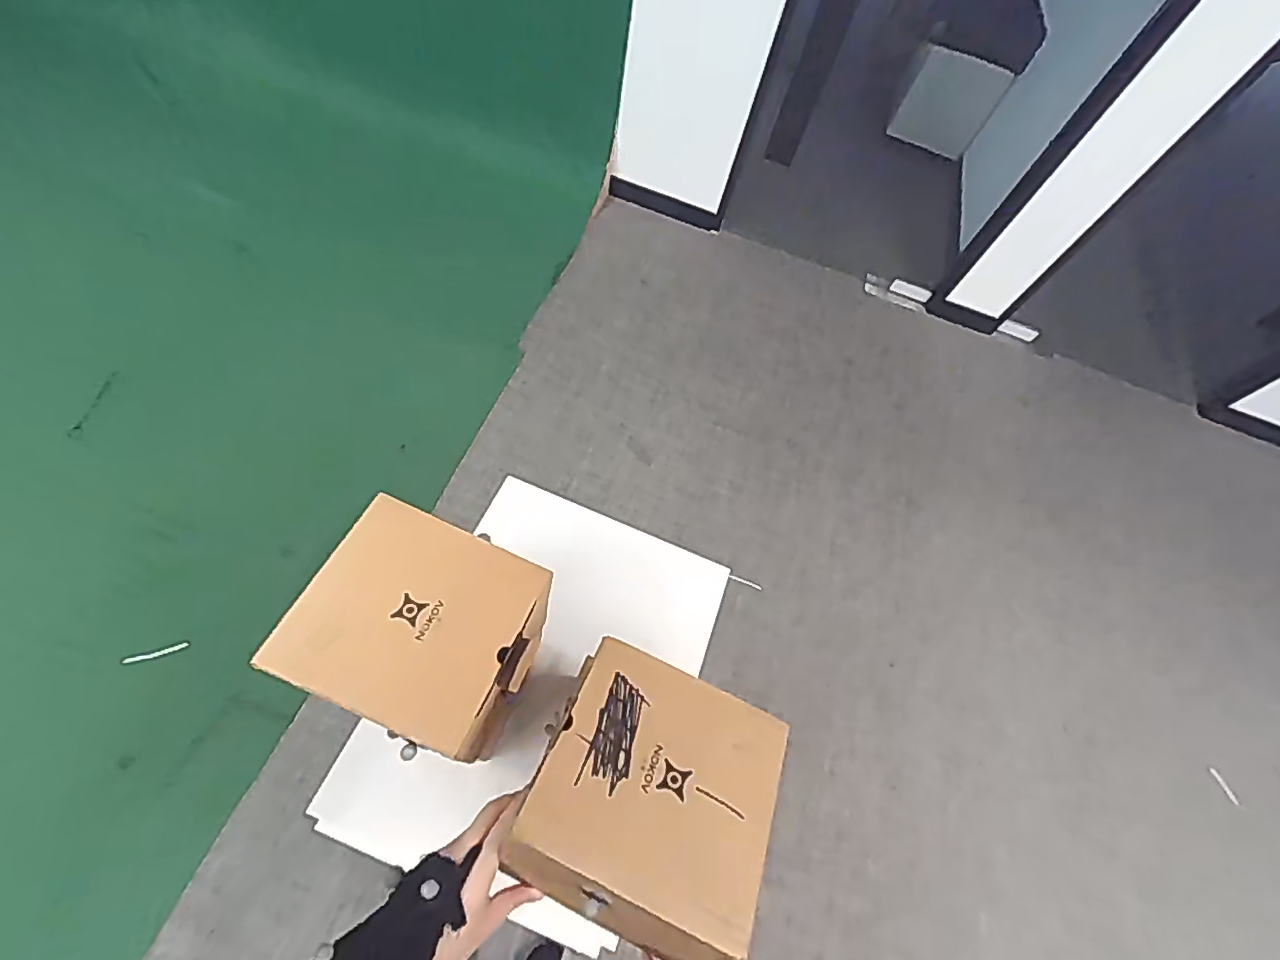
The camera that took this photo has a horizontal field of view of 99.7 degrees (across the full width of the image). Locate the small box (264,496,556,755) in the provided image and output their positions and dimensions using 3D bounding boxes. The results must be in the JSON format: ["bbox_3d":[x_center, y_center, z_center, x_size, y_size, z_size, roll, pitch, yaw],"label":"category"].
[{"bbox_3d":[-0.201,0.150,0.523,0.179,0.176,0.168,25,58,0],"label":"small box"}]

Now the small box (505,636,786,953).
[{"bbox_3d":[-0.001,0.277,0.472,0.179,0.176,0.168,26,45,5],"label":"small box"}]

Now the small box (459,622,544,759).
[{"bbox_3d":[-0.233,0.228,0.663,0.179,0.176,0.168,23,59,1],"label":"small box"}]
